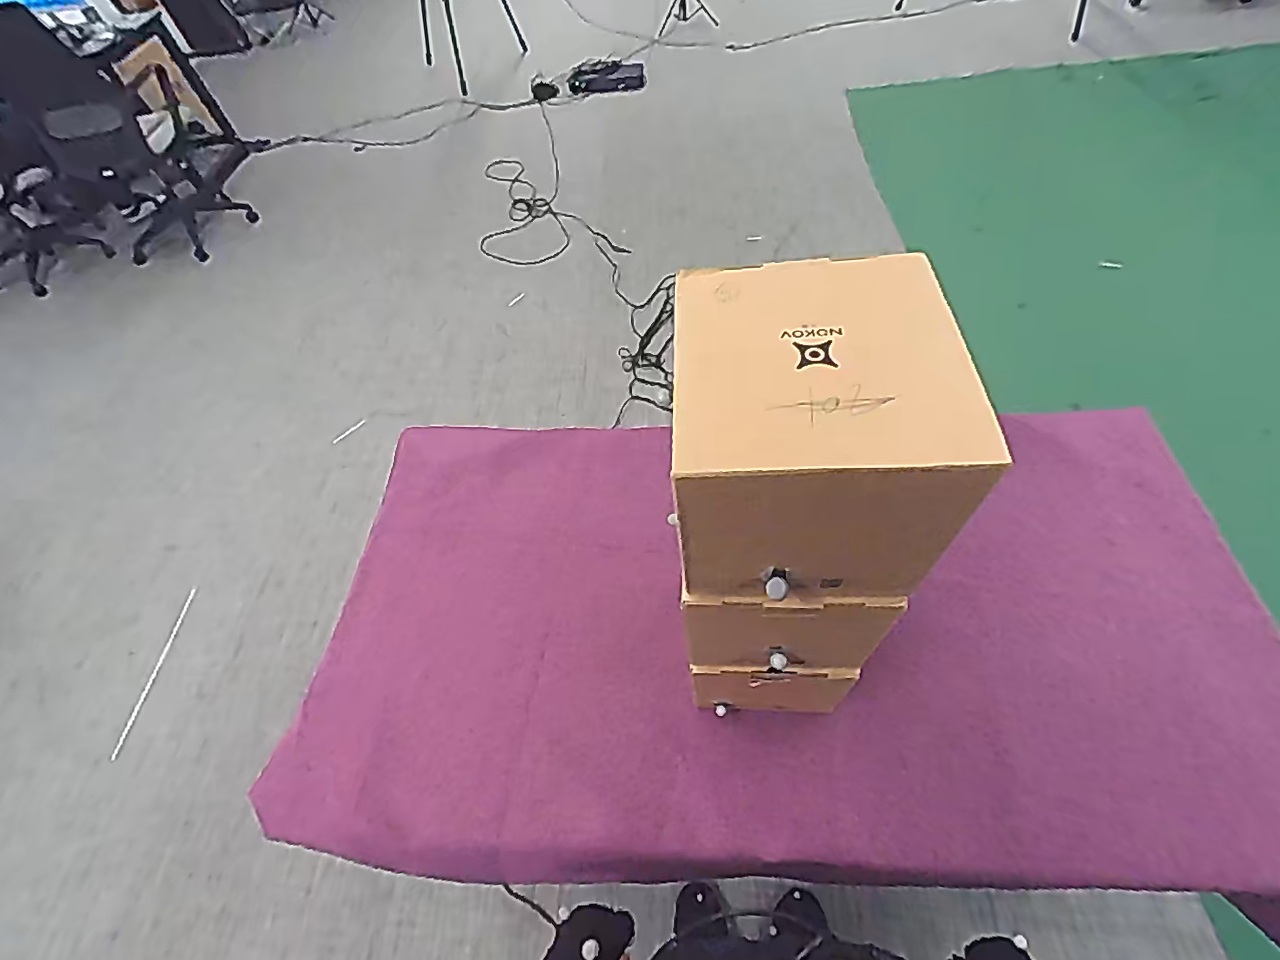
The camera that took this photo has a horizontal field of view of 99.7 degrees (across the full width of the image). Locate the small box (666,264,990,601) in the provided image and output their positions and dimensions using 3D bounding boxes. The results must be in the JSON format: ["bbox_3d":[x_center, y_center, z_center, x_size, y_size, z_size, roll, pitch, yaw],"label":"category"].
[{"bbox_3d":[0.109,-0.029,0.391,0.168,0.176,0.179,-1,55,8],"label":"small box"}]

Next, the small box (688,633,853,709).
[{"bbox_3d":[0.146,0.167,0.652,0.168,0.176,0.179,0,55,8],"label":"small box"}]

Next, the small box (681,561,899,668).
[{"bbox_3d":[0.127,0.067,0.522,0.168,0.176,0.179,-1,56,8],"label":"small box"}]
